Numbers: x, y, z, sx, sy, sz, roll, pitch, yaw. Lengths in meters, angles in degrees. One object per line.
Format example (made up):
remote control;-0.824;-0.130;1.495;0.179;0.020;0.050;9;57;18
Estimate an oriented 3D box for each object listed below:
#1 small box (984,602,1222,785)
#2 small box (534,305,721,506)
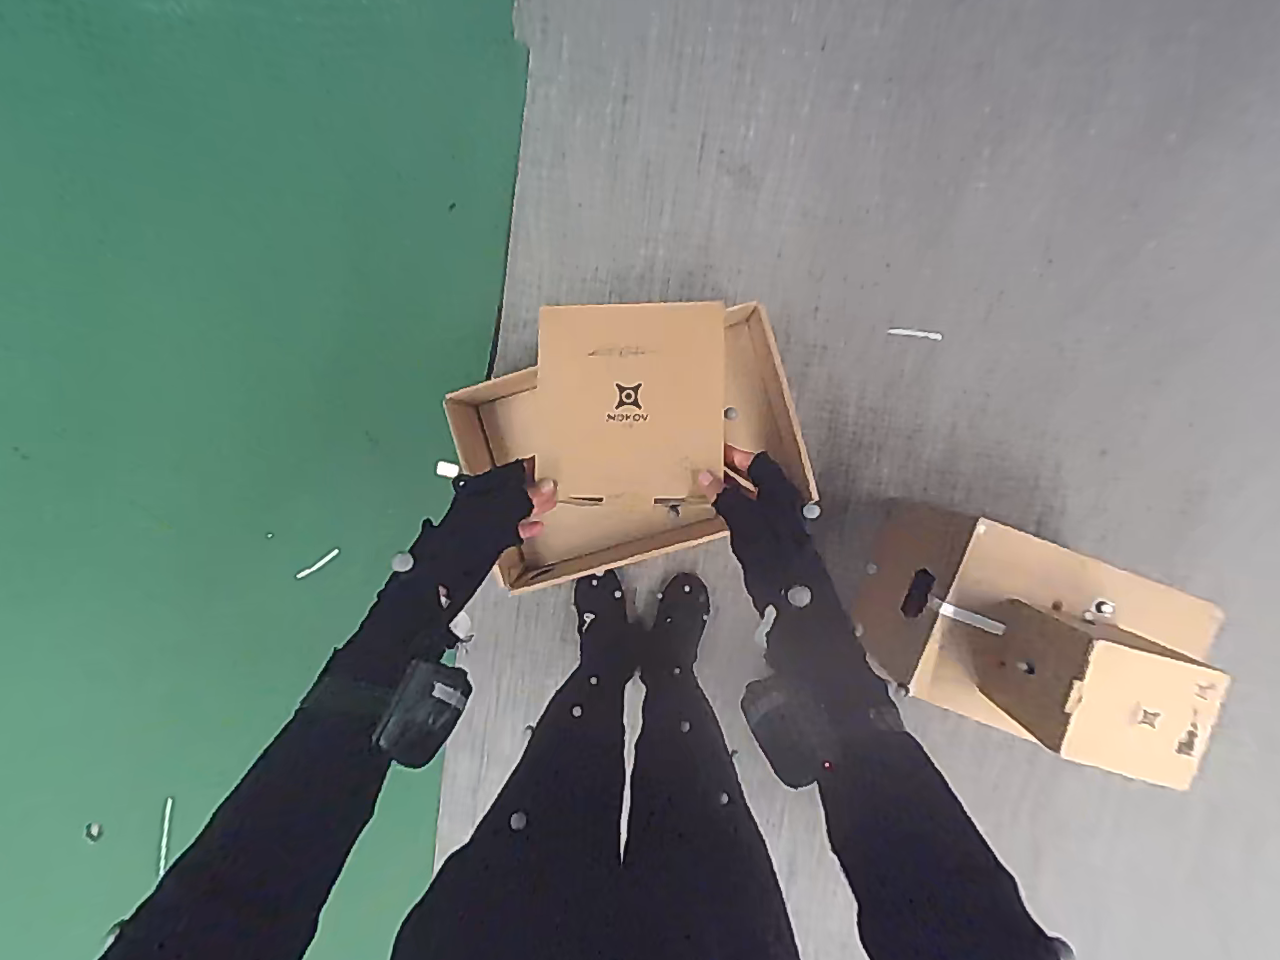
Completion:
small box;0.641;0.289;0.776;0.179;0.176;0.168;15;96;2
small box;-0.003;-0.063;0.556;0.168;0.176;0.179;1;85;6
